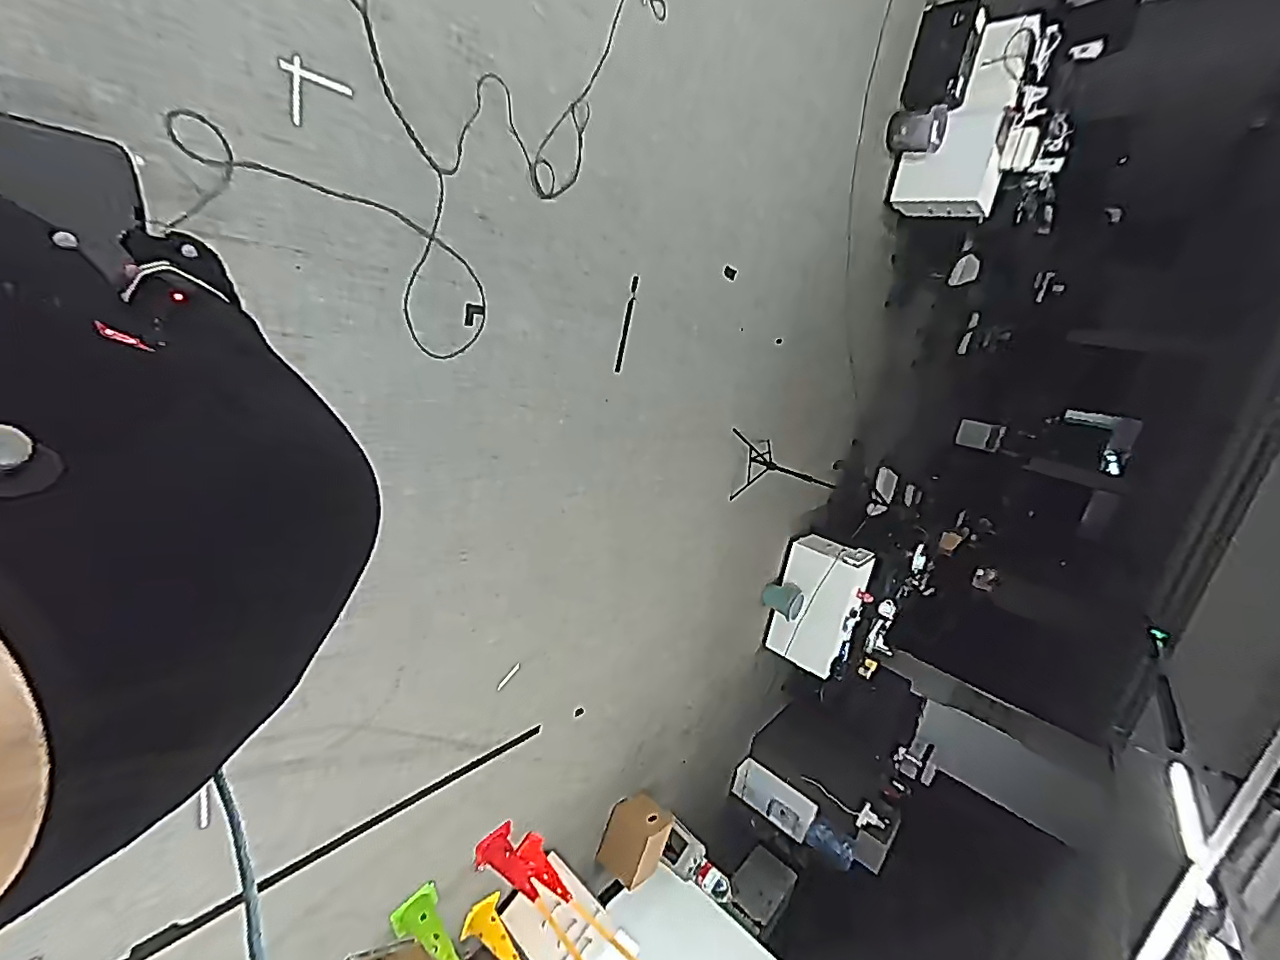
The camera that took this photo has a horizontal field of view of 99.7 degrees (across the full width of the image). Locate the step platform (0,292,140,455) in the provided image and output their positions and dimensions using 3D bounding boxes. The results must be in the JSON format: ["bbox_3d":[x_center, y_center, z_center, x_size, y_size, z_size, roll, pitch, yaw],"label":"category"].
[{"bbox_3d":[-1.263,-0.182,0.865,0.684,0.204,0.286,-9,115,-48],"label":"step platform"}]
